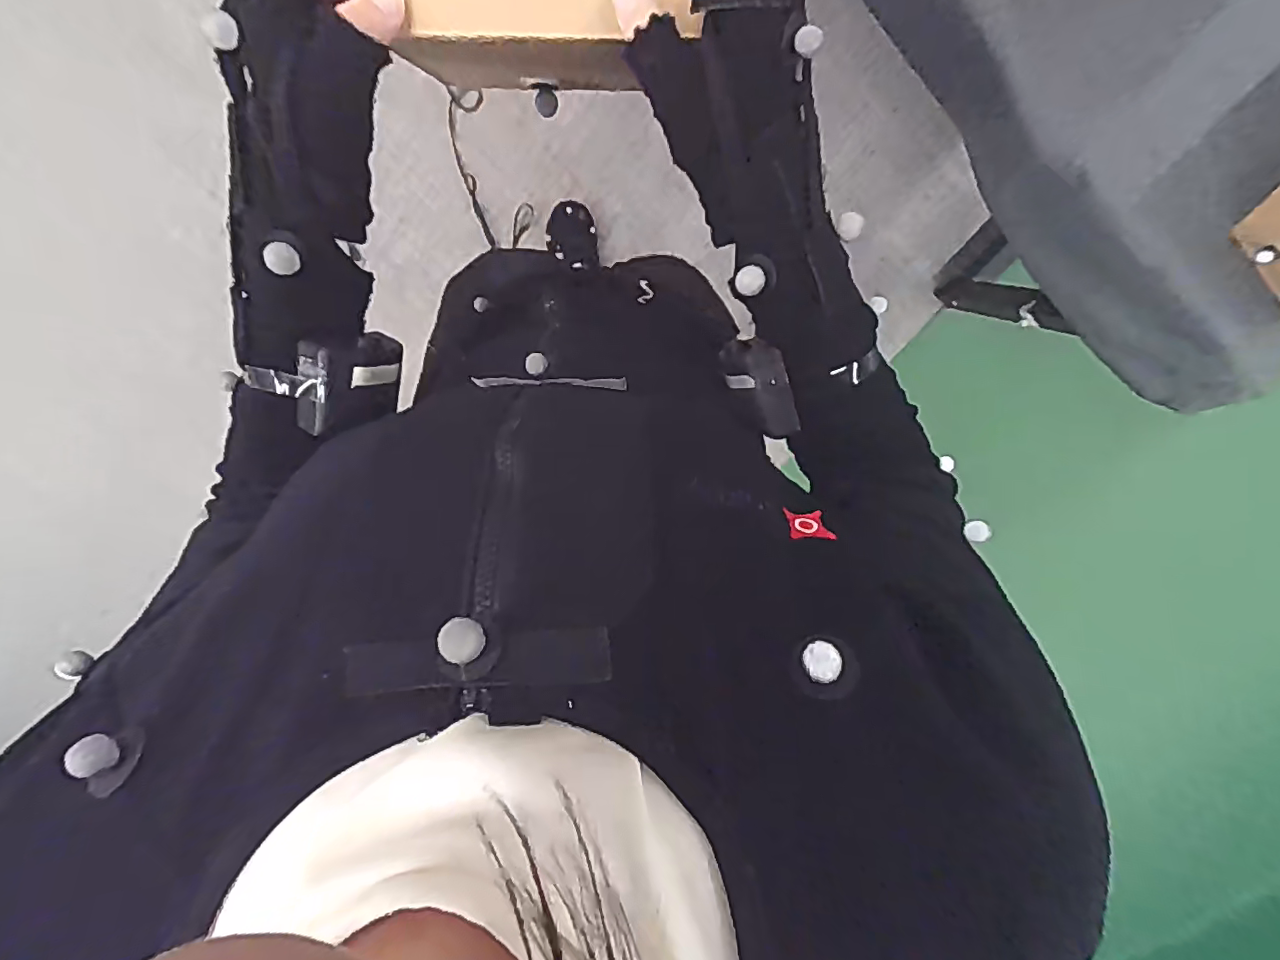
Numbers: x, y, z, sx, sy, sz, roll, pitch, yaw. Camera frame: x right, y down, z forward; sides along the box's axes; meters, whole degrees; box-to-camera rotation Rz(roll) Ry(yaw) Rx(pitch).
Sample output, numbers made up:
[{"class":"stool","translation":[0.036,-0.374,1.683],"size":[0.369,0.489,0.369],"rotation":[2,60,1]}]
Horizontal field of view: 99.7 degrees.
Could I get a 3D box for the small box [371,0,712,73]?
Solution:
[{"class":"small box","translation":[-0.051,-0.333,0.279],"size":[0.168,0.176,0.179],"rotation":[-1,120,-3]}]
